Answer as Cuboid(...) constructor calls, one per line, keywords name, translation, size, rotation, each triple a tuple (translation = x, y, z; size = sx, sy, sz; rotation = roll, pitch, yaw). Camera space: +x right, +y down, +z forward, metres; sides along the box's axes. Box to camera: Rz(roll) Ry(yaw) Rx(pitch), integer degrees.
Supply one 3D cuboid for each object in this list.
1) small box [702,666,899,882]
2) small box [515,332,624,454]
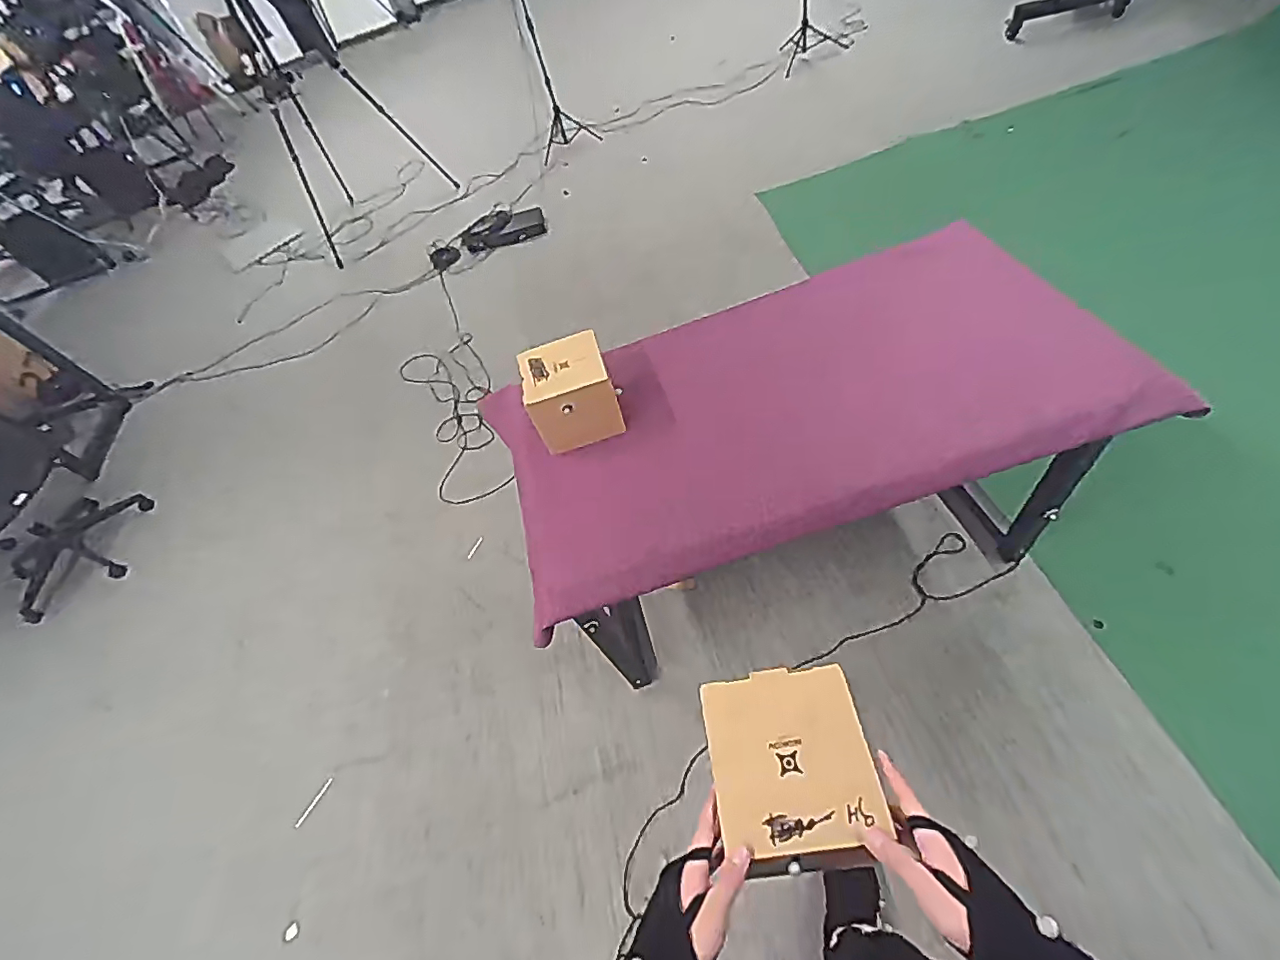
Cuboid(name="small box", translation=(0.170, 0.341, 0.623), size=(0.168, 0.176, 0.179), rotation=(-11, 49, 6))
Cuboid(name="small box", translation=(-0.149, -0.181, 1.162), size=(0.179, 0.176, 0.168), rotation=(-18, 53, 1))
